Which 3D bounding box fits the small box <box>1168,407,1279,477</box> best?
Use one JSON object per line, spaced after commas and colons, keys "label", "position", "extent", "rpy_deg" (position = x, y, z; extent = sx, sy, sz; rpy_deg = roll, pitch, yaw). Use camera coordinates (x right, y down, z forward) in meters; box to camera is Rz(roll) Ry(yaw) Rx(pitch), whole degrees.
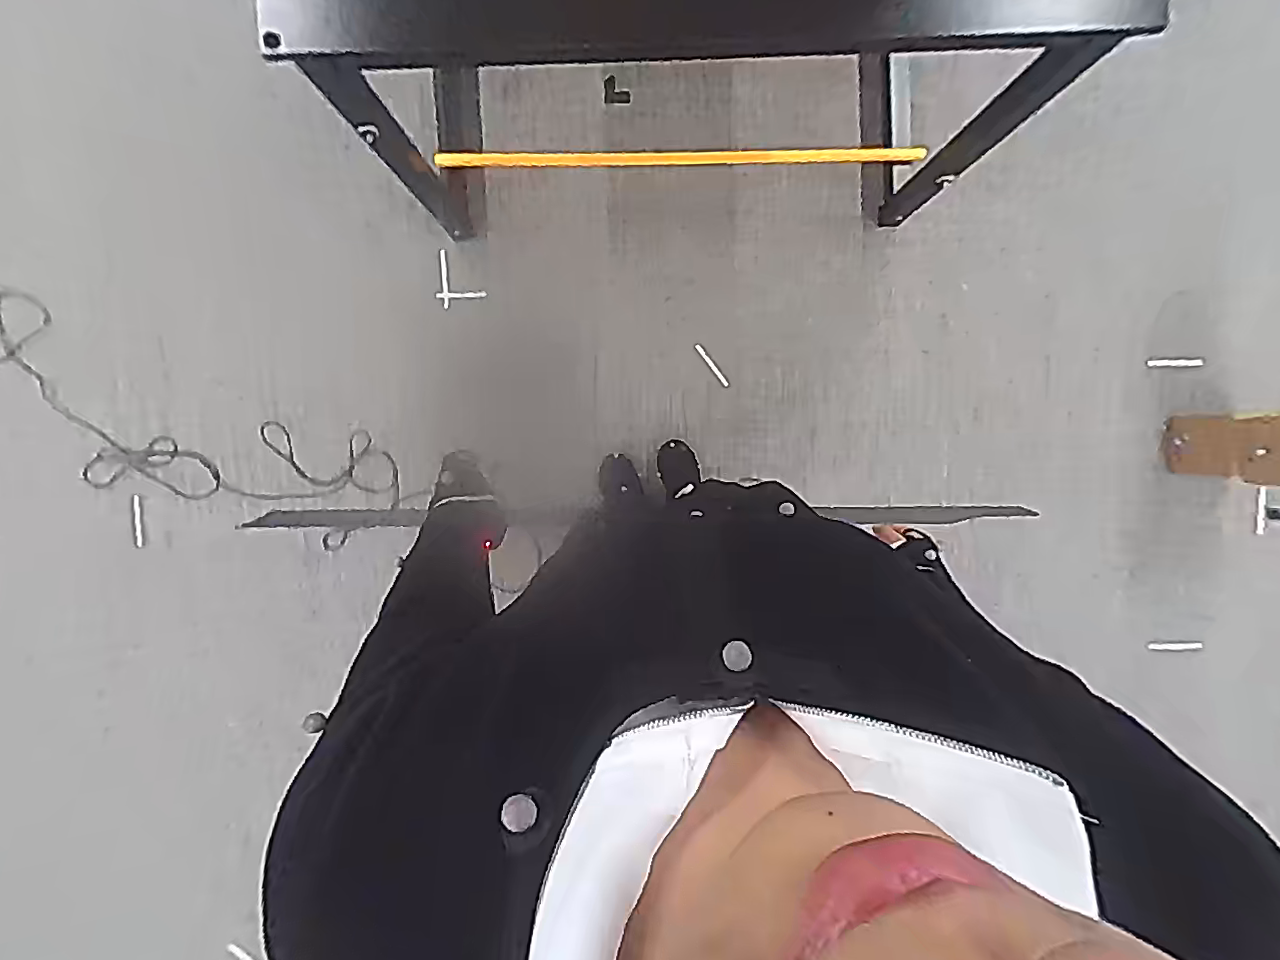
{"label": "small box", "position": [1.549, -0.101, 1.413], "extent": [0.179, 0.176, 0.168], "rpy_deg": [-5, 93, 1]}

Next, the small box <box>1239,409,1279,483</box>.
{"label": "small box", "position": [1.564, -0.087, 1.249], "extent": [0.179, 0.176, 0.168], "rpy_deg": [-10, 93, 0]}
